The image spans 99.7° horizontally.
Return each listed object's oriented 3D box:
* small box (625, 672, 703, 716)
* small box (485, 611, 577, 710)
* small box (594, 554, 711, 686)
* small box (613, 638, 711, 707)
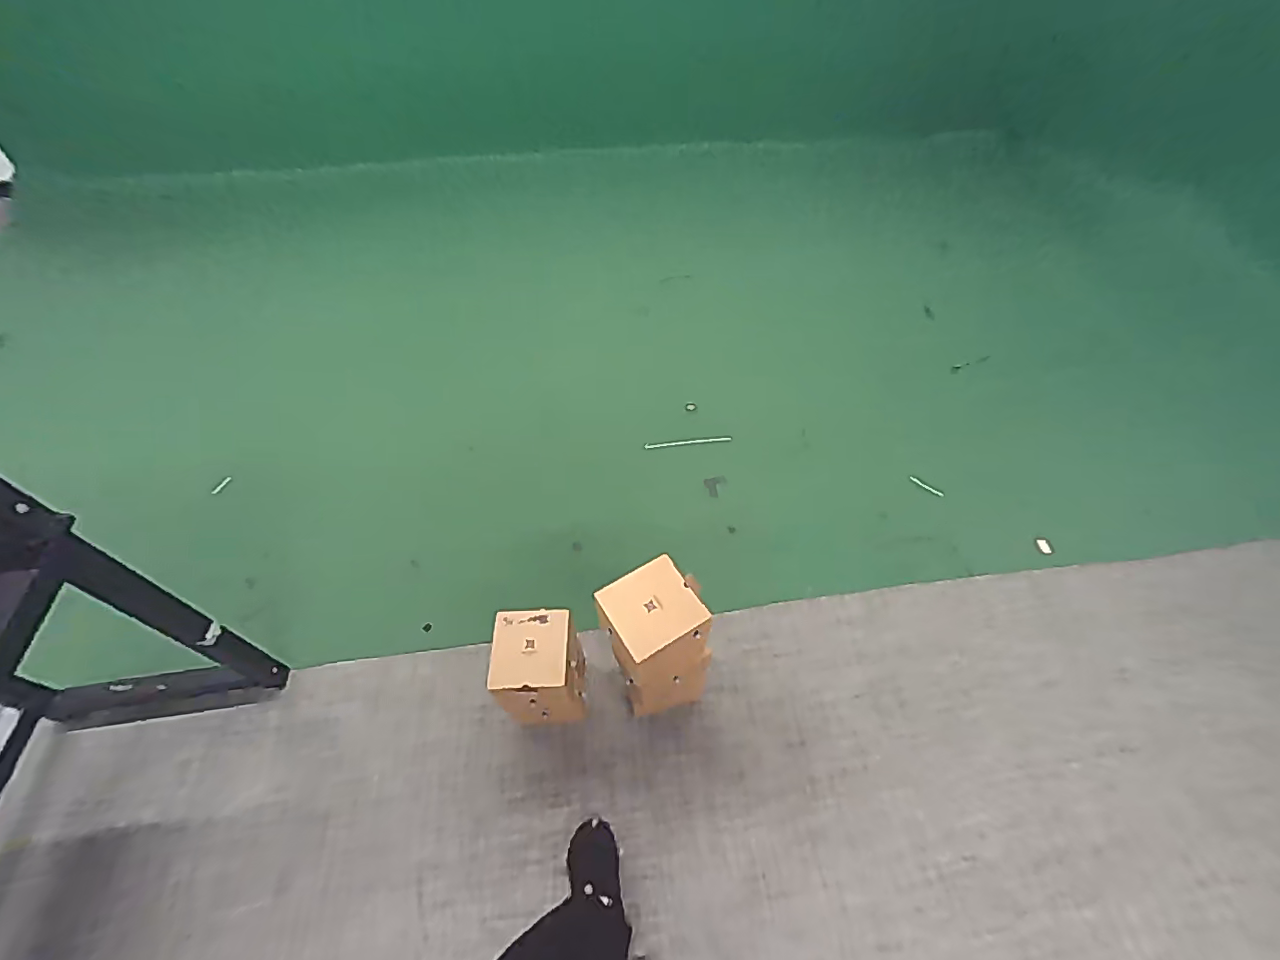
[{"bbox_3d":[0.049,0.479,1.371,0.179,0.176,0.168,-12,54,-9],"label":"small box"},{"bbox_3d":[-0.236,0.412,1.219,0.168,0.176,0.179,-2,53,0],"label":"small box"},{"bbox_3d":[0.024,0.290,1.106,0.179,0.176,0.168,-27,58,-19],"label":"small box"},{"bbox_3d":[0.041,0.390,1.235,0.179,0.176,0.168,-23,58,-17],"label":"small box"}]
